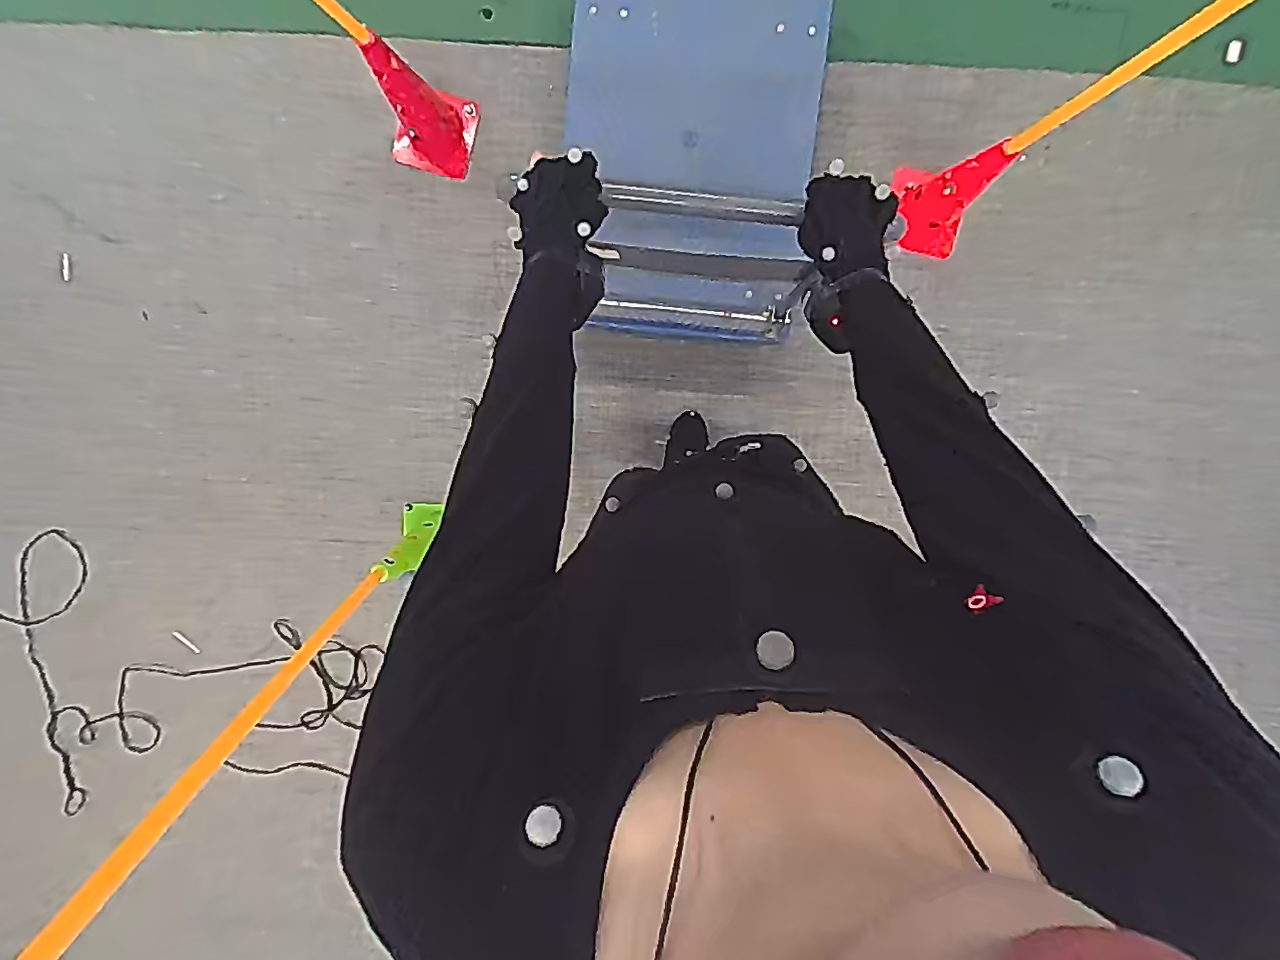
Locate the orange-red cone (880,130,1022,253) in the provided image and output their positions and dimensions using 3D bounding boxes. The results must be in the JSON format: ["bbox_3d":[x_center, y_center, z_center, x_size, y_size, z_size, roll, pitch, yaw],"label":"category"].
[{"bbox_3d":[0.735,-0.684,1.230,0.198,0.360,0.199,14,97,0],"label":"orange-red cone"}]
